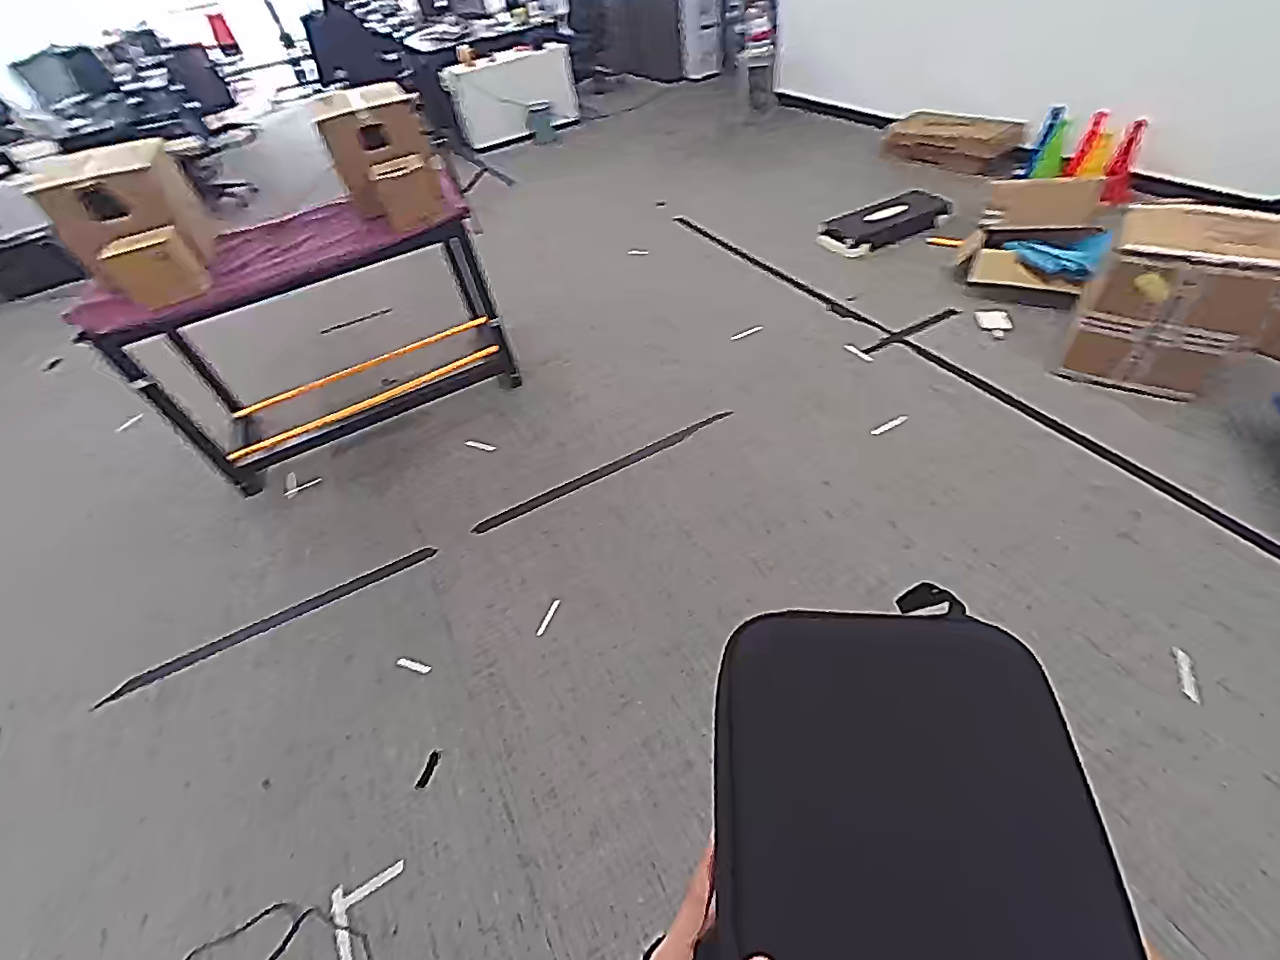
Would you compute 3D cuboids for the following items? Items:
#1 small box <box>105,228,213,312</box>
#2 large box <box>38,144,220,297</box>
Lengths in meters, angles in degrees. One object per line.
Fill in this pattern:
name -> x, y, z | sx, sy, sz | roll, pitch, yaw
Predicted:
small box -> -1.459, -0.639, 1.653 | 0.179, 0.176, 0.168 | -26, 47, -15
large box -> -1.671, -0.876, 1.814 | 0.320, 0.320, 0.408 | -25, 50, -14
